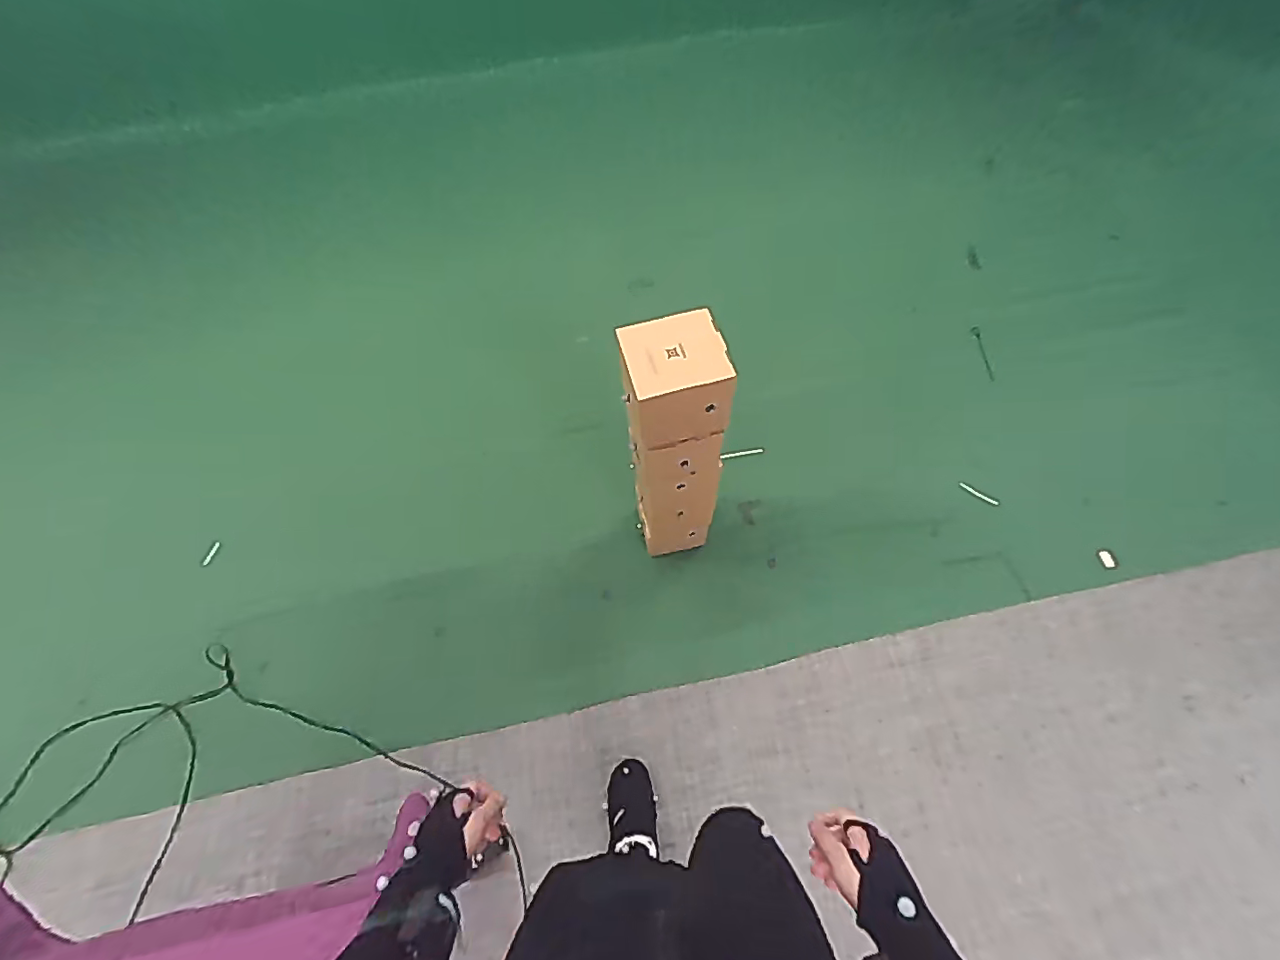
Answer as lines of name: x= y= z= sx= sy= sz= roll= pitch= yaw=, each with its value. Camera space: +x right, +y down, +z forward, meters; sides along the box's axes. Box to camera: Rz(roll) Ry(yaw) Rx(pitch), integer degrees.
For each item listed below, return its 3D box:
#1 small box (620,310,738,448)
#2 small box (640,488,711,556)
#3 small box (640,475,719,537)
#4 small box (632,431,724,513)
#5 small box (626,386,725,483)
small box: x=0.068 y=-0.183 z=1.012 sx=0.179 sy=0.176 sz=0.168 roll=-14 pitch=63 yaw=-3
small box: x=0.100 y=0.111 z=1.594 sx=0.179 sy=0.176 sz=0.168 roll=-12 pitch=64 yaw=-3
small box: x=0.099 y=0.036 z=1.451 sx=0.179 sy=0.176 sz=0.168 roll=-15 pitch=64 yaw=-4
small box: x=0.089 y=-0.037 z=1.304 sx=0.179 sy=0.176 sz=0.168 roll=-16 pitch=65 yaw=-5
small box: x=0.074 y=-0.108 z=1.158 sx=0.168 sy=0.176 sz=0.179 roll=-14 pitch=65 yaw=-4
